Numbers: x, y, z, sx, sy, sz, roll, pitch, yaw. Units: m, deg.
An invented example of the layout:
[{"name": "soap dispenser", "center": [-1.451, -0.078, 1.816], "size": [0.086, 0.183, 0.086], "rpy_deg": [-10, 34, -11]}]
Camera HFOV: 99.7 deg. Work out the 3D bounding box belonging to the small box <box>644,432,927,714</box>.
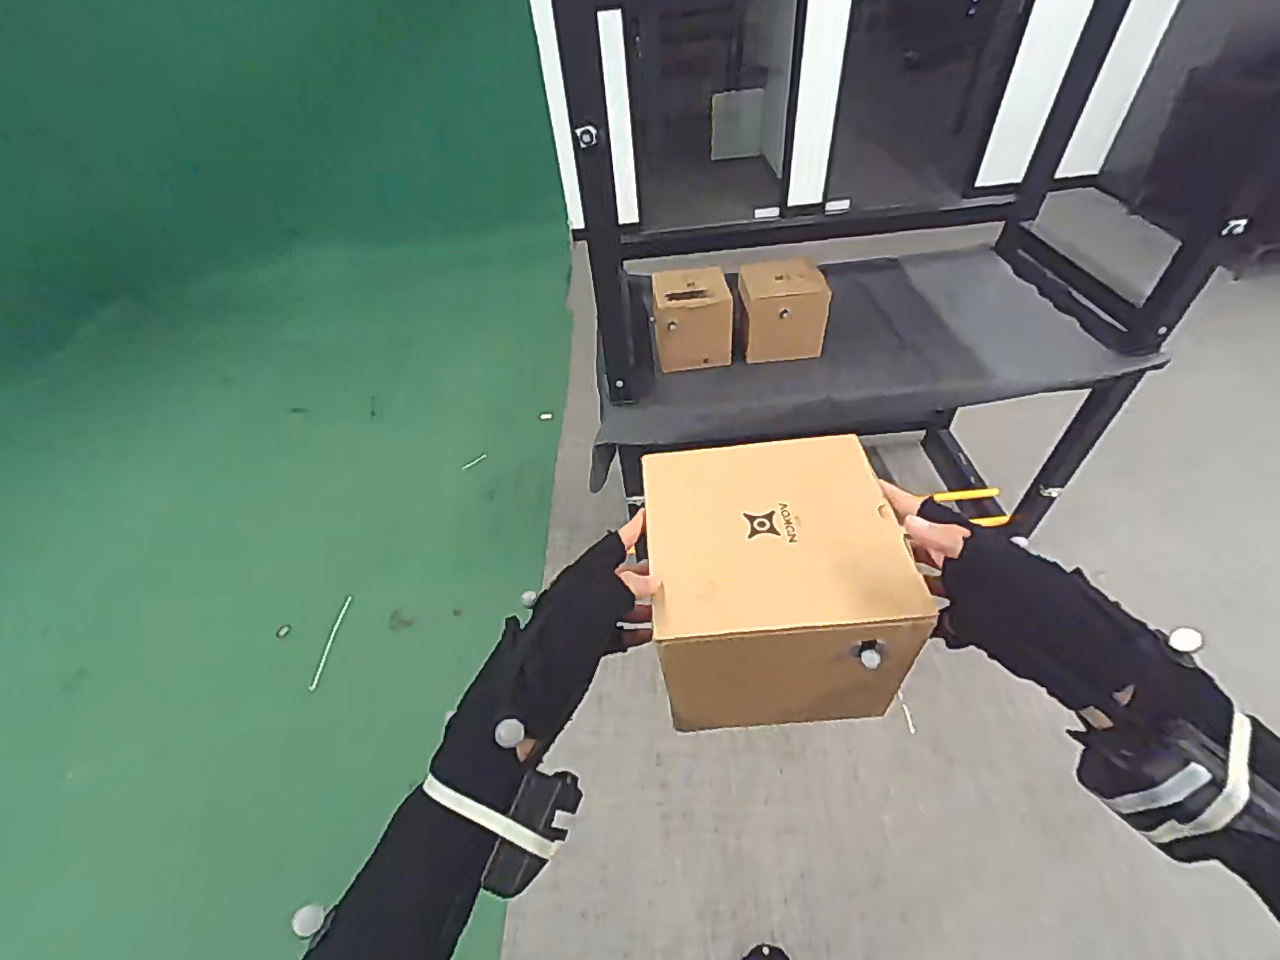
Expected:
[{"name": "small box", "center": [0.100, 0.082, 0.453], "size": [0.179, 0.176, 0.168], "rpy_deg": [-5, 47, 2]}]
